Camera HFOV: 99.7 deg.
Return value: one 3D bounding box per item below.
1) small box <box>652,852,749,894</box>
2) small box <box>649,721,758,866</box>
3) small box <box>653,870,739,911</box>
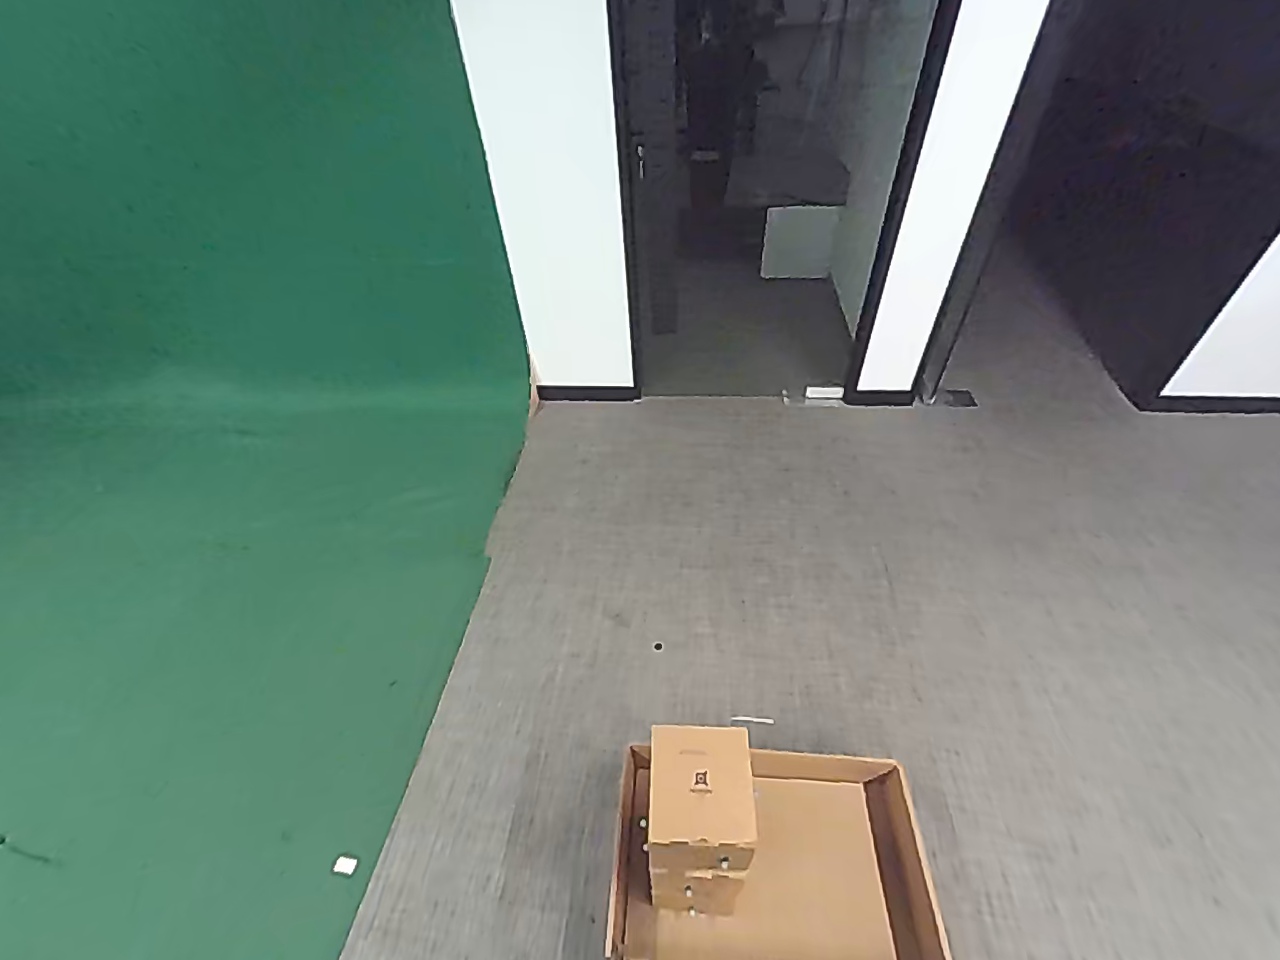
[{"bbox_3d":[0.110,0.654,1.023,0.168,0.176,0.179,2,44,5],"label":"small box"},{"bbox_3d":[0.102,0.532,0.914,0.168,0.176,0.179,1,44,3],"label":"small box"},{"bbox_3d":[0.116,0.772,1.134,0.168,0.176,0.179,2,44,6],"label":"small box"}]
